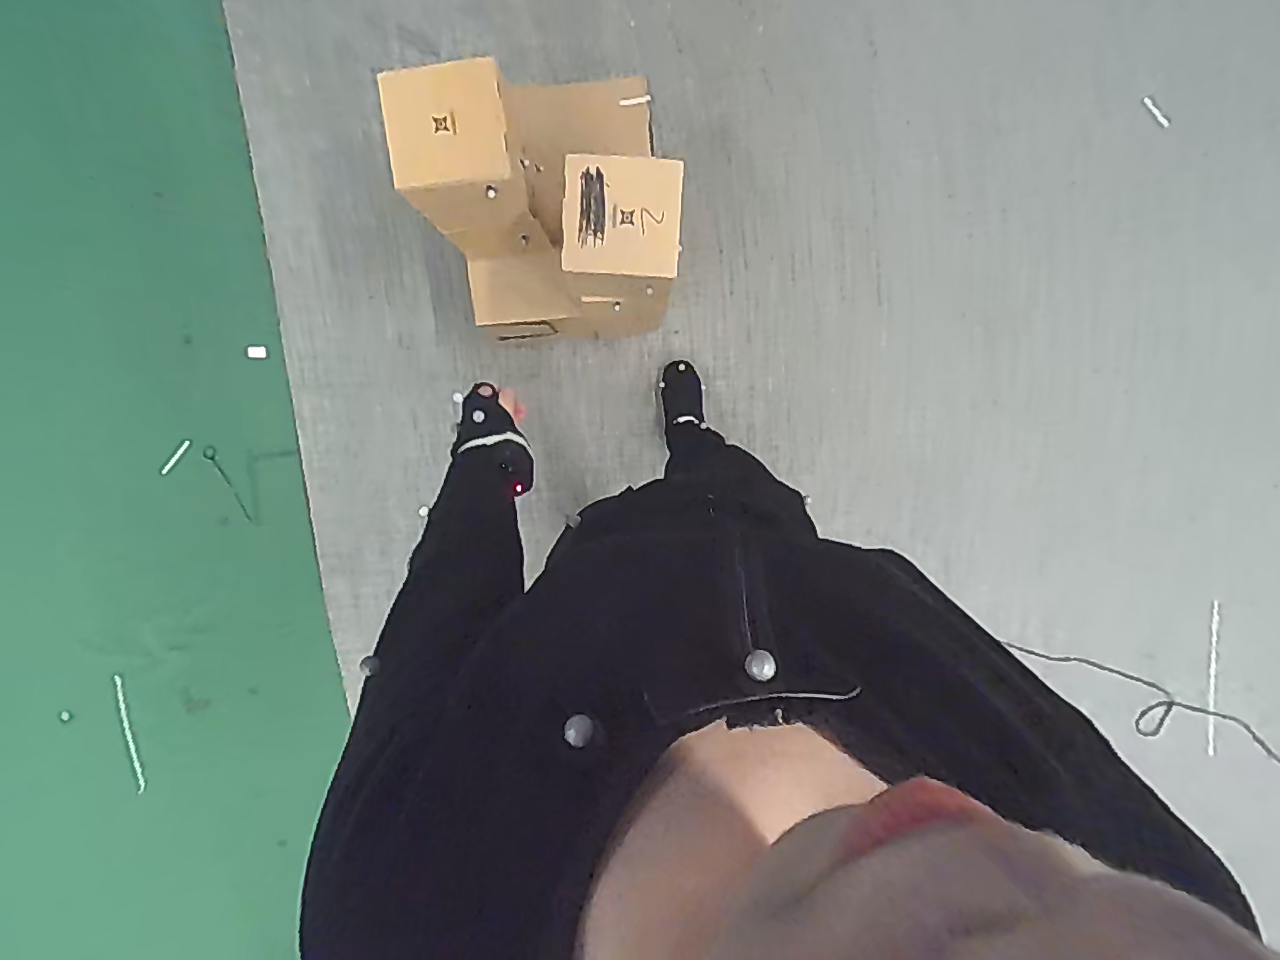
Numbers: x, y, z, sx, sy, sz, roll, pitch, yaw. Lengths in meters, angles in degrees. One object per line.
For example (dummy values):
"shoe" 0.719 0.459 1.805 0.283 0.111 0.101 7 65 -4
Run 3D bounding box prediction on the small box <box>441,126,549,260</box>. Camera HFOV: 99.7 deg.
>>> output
"small box" -0.276 -0.534 1.028 0.179 0.176 0.168 -7 95 2

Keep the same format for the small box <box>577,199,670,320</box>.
"small box" -0.031 -0.413 1.038 0.168 0.176 0.179 -2 96 0

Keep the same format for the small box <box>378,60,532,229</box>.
"small box" -0.284 -0.521 0.865 0.179 0.176 0.168 -7 95 1
